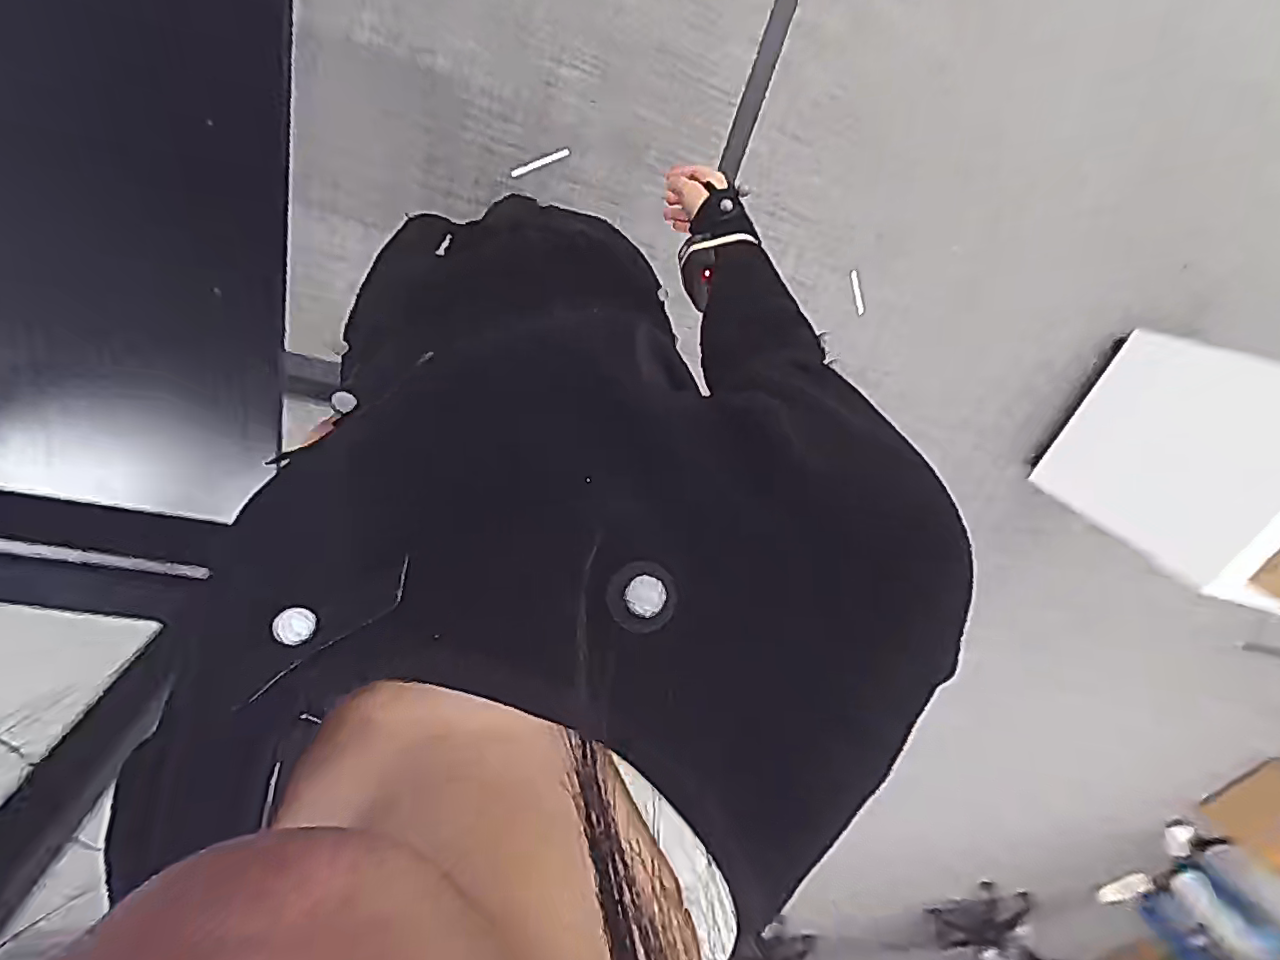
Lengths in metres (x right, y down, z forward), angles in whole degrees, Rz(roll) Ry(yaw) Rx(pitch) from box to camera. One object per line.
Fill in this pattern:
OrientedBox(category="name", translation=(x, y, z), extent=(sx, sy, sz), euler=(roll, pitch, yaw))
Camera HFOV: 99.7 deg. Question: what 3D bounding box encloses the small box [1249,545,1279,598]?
OrientedBox(category="small box", translation=(1.539, 0.221, 1.195), extent=(0.179, 0.176, 0.168), euler=(14, 113, -15))
